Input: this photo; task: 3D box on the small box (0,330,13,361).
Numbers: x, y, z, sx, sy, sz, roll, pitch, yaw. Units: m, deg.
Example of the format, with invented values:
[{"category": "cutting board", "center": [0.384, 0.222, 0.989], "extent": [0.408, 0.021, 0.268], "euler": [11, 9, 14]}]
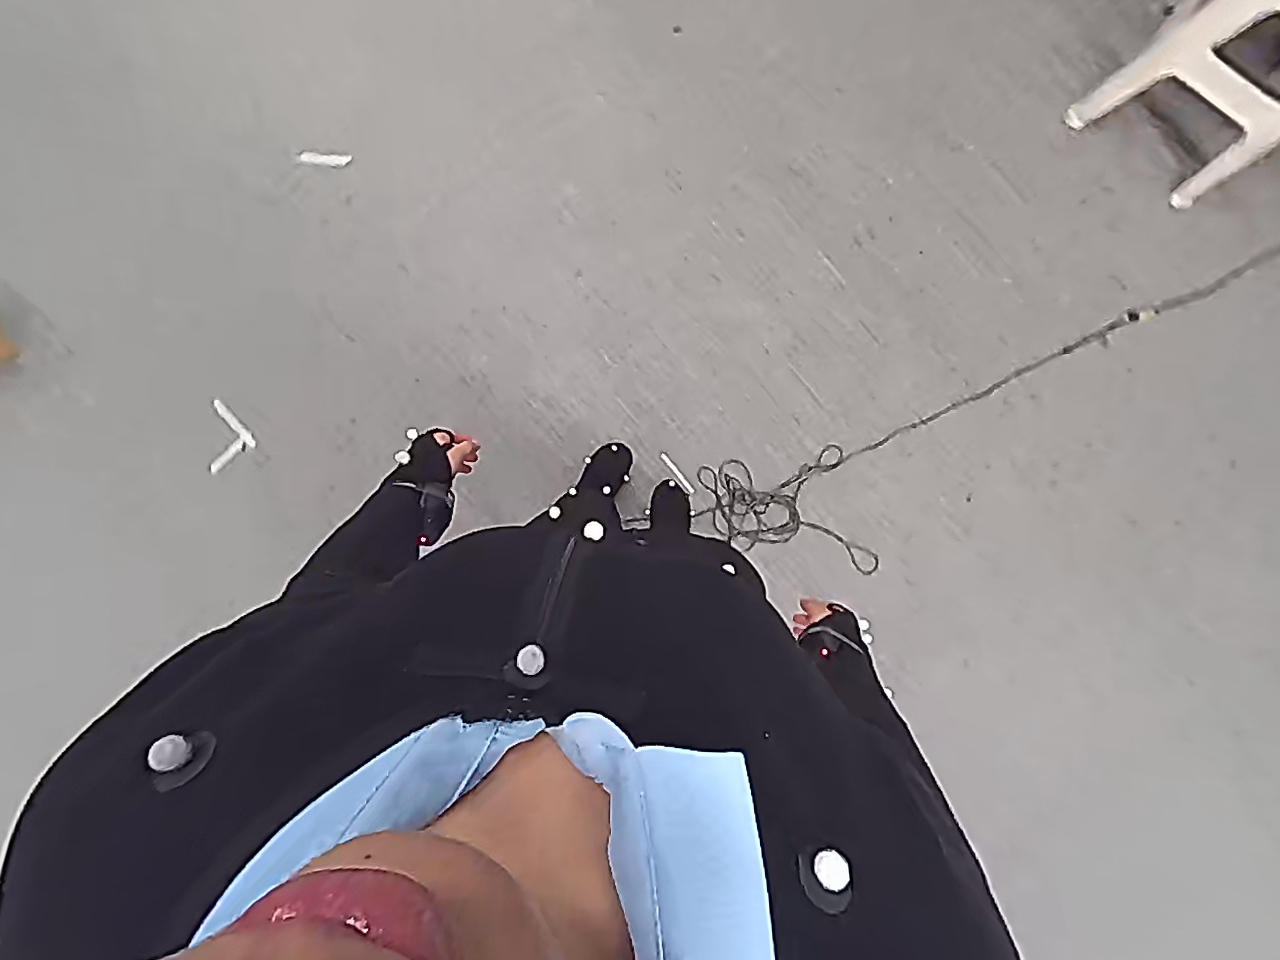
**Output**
[{"category": "small box", "center": [-1.928, -0.393, 1.494], "extent": [0.168, 0.176, 0.179], "euler": [-44, 89, 3]}]
